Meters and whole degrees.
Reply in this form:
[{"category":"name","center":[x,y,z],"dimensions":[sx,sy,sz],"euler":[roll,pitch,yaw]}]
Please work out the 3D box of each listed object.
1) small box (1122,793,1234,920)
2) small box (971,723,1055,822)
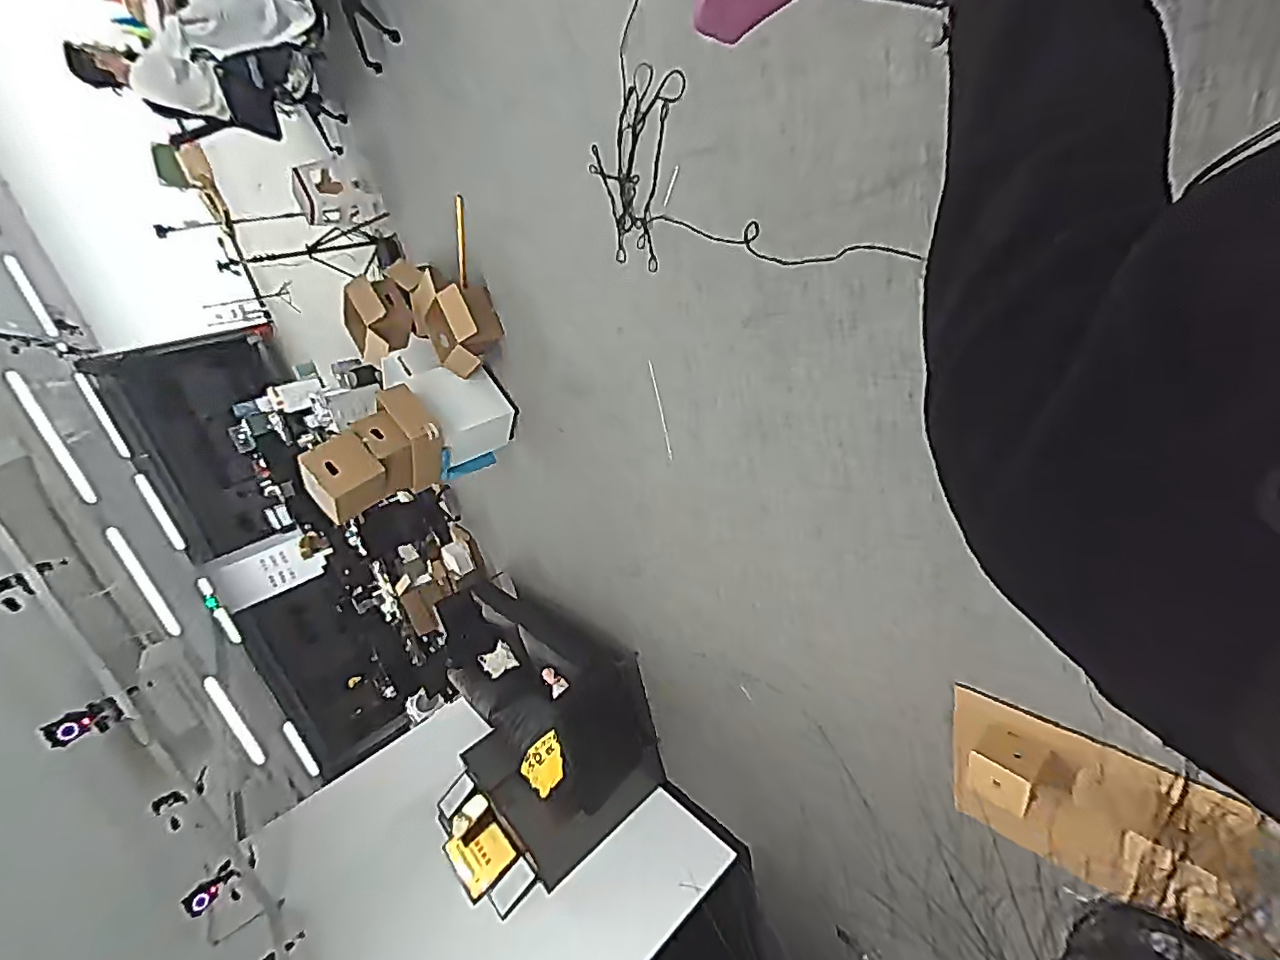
[{"category":"small box","center":[1.398,0.966,1.405],"dimensions":[0.168,0.176,0.179],"euler":[21,129,47]},{"category":"small box","center":[1.162,0.901,1.684],"dimensions":[0.168,0.176,0.179],"euler":[20,129,48]}]
